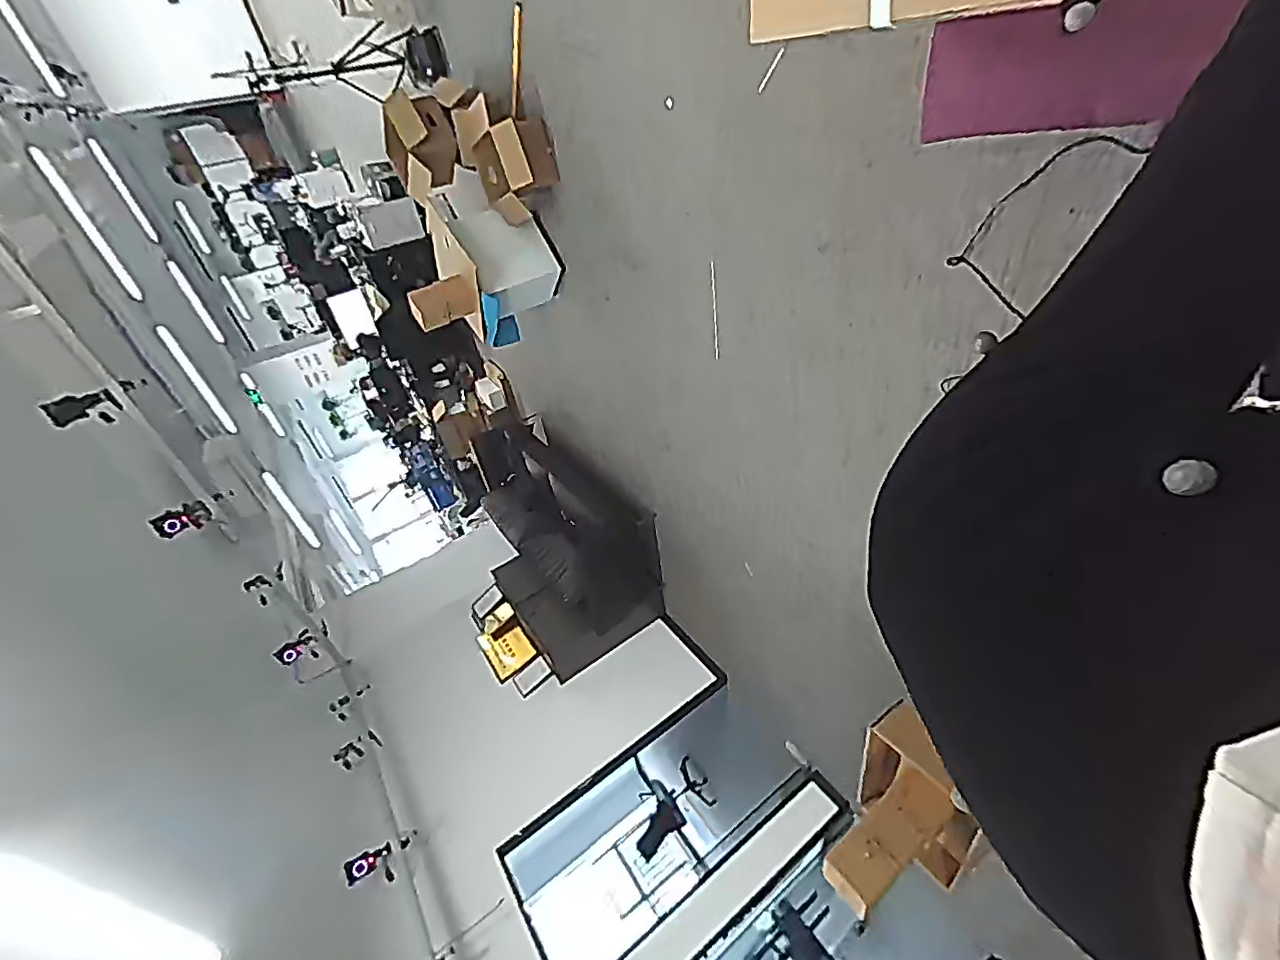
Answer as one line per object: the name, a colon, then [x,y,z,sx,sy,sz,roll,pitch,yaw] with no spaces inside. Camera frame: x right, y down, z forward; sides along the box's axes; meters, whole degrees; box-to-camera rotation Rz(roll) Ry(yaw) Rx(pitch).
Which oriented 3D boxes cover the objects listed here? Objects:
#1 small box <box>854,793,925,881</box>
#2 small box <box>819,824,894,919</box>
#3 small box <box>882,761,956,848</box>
small box: [0.855,1.229,1.869,0.168,0.176,0.179,39,150,44]
small box: [0.722,1.302,1.804,0.168,0.176,0.179,36,147,45]
small box: [0.988,1.151,1.925,0.179,0.176,0.168,37,148,45]
